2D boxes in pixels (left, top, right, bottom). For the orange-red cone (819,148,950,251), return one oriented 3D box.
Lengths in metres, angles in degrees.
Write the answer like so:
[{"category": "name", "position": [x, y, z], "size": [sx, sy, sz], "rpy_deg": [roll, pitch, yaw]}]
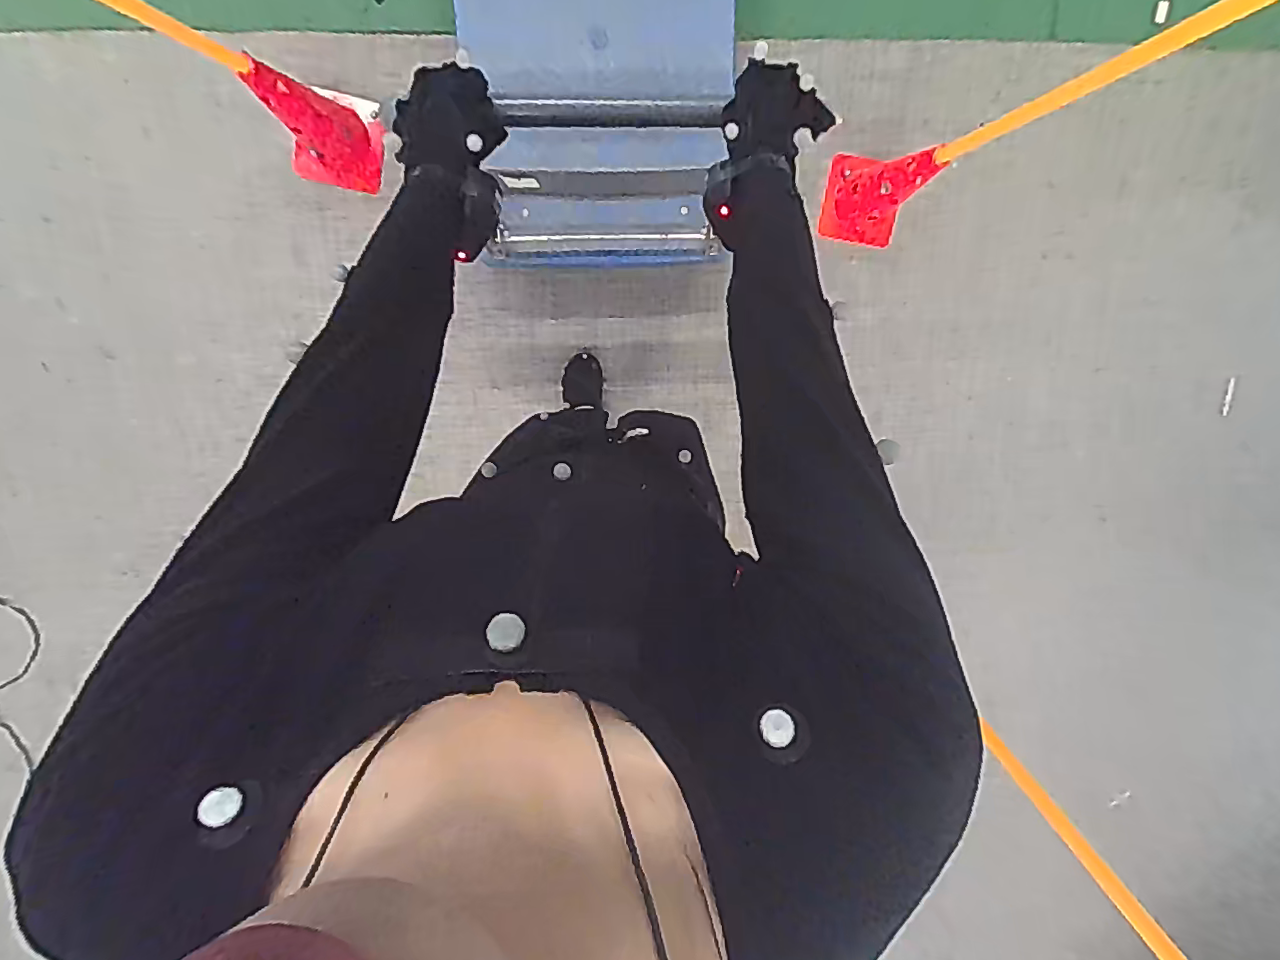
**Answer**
[{"category": "orange-red cone", "position": [0.577, -0.663, 1.216], "size": [0.198, 0.360, 0.199], "rpy_deg": [9, 104, -5]}]
